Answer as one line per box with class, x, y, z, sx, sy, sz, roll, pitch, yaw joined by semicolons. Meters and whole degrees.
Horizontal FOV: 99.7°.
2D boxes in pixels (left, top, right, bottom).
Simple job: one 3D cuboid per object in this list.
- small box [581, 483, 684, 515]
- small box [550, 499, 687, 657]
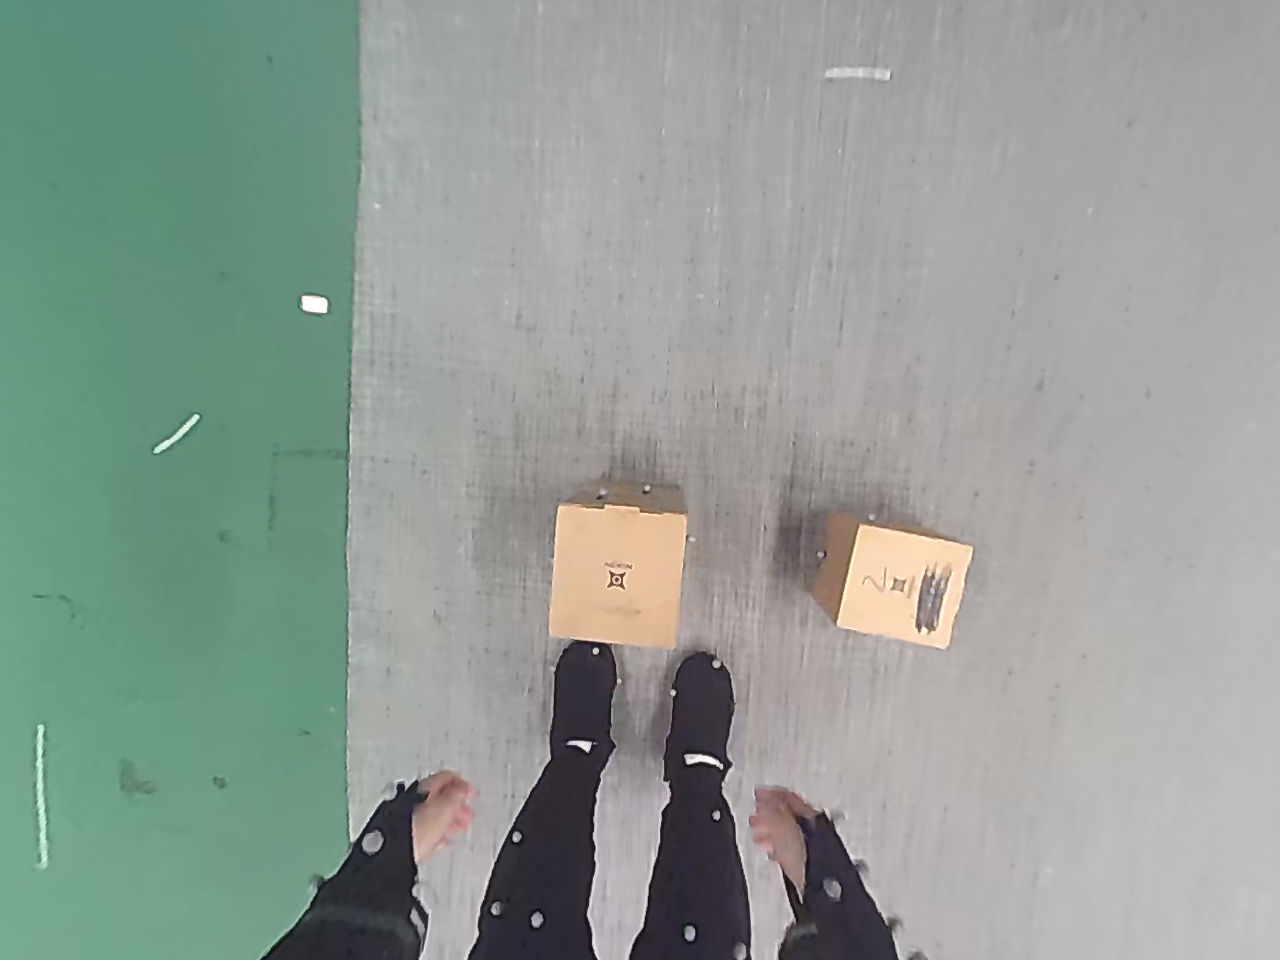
small box;-0.016;0.109;0.925;0.168;0.176;0.179;8;96;3
small box;-0.024;0.125;0.763;0.168;0.176;0.179;4;96;5
